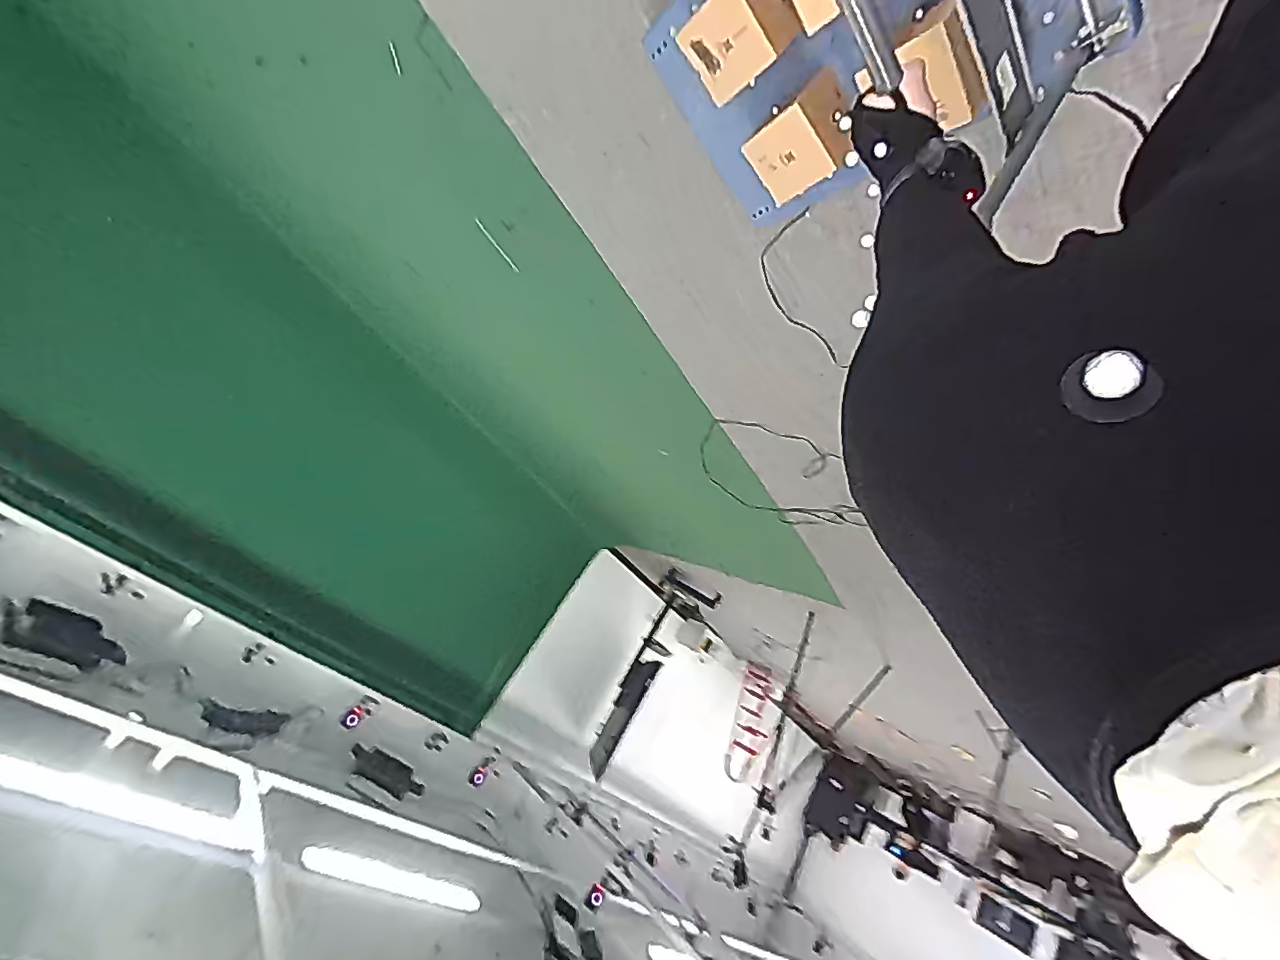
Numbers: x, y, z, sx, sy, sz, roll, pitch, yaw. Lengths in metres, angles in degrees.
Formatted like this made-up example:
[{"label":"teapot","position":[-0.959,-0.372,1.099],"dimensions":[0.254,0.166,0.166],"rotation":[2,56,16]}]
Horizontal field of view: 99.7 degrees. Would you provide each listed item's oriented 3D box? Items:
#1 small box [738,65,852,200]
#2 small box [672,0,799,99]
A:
[{"label":"small box","position":[0.368,-0.806,1.258],"dimensions":[0.168,0.176,0.179],"rotation":[45,156,-24]},{"label":"small box","position":[0.208,-0.968,1.141],"dimensions":[0.168,0.176,0.179],"rotation":[44,156,-26]}]
